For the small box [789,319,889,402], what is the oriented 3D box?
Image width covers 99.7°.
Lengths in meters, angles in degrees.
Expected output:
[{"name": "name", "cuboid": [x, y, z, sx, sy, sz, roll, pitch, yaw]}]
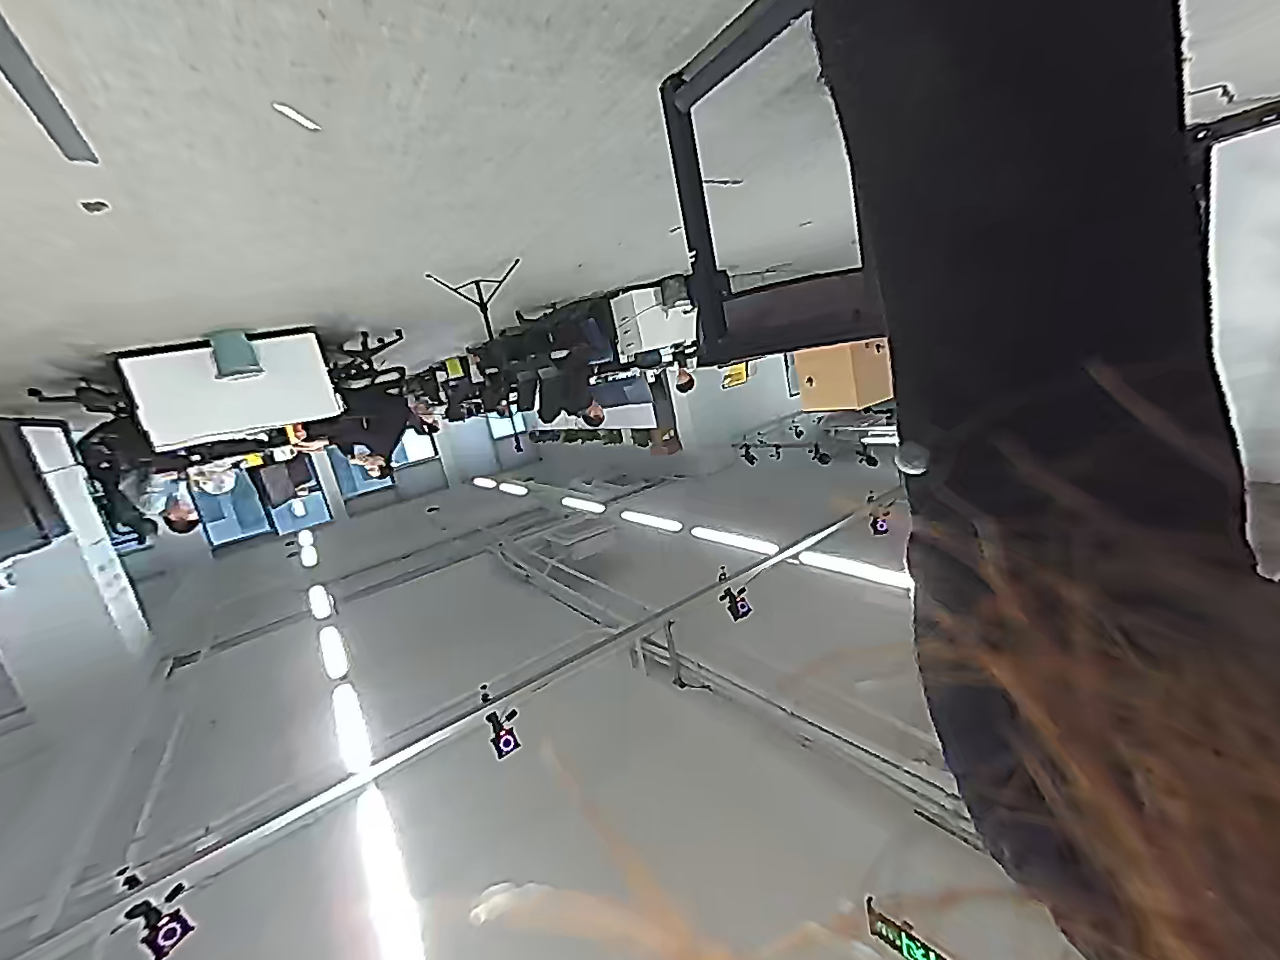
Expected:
[{"name": "small box", "cuboid": [0.494, -0.300, 1.357, 0.168, 0.176, 0.179, -22, -164, -28]}]
